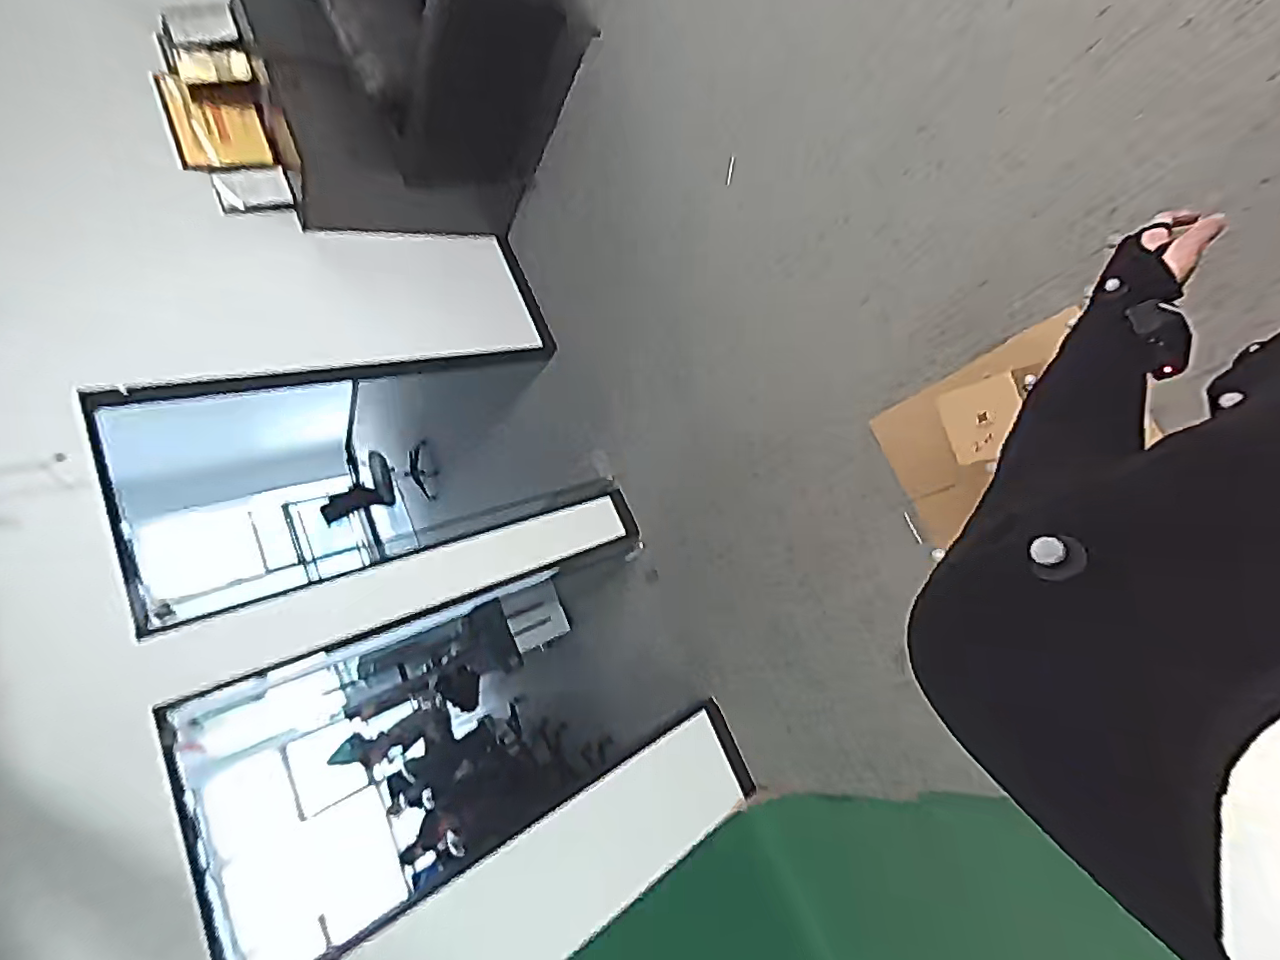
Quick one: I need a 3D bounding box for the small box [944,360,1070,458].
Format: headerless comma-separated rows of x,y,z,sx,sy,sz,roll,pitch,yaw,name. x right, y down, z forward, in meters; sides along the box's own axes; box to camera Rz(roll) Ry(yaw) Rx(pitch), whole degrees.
0.846,-0.167,1.247,0.168,0.176,0.179,-23,86,55,small box

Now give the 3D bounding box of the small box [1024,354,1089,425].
0.971,-0.202,1.349,0.168,0.176,0.179,-30,80,54,small box

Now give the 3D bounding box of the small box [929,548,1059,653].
0.793,0.269,1.209,0.168,0.176,0.179,-28,81,53,small box
